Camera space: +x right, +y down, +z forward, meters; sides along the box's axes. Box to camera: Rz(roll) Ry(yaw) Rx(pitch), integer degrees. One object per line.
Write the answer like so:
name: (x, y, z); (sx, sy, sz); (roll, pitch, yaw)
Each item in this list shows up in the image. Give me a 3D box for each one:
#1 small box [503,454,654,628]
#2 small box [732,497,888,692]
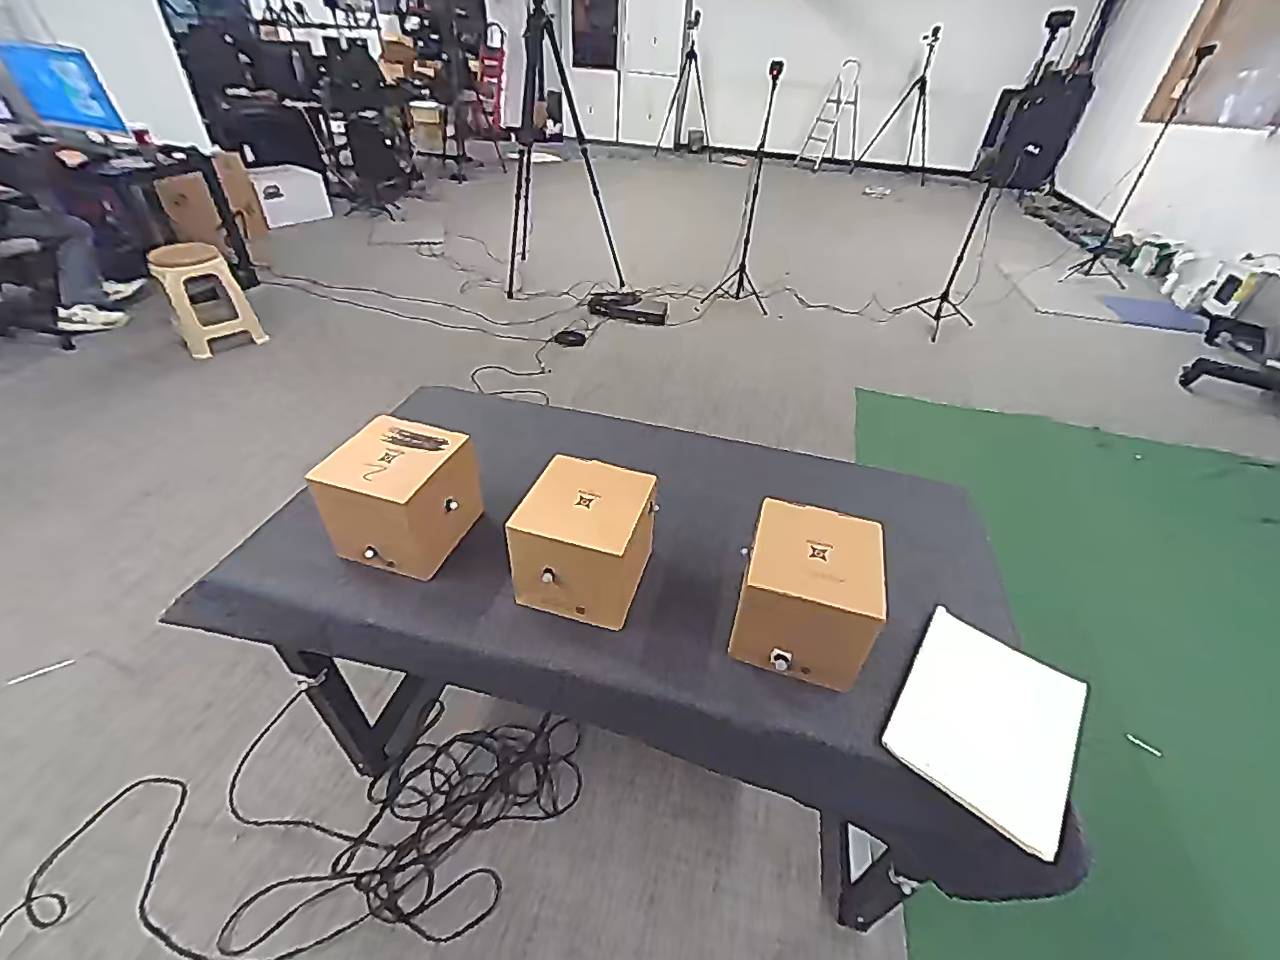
small box: (-0.082, 0.091, 0.802); (0.168, 0.176, 0.179); (12, 39, 11)
small box: (0.228, 0.155, 0.749); (0.168, 0.176, 0.179); (12, 41, 12)
